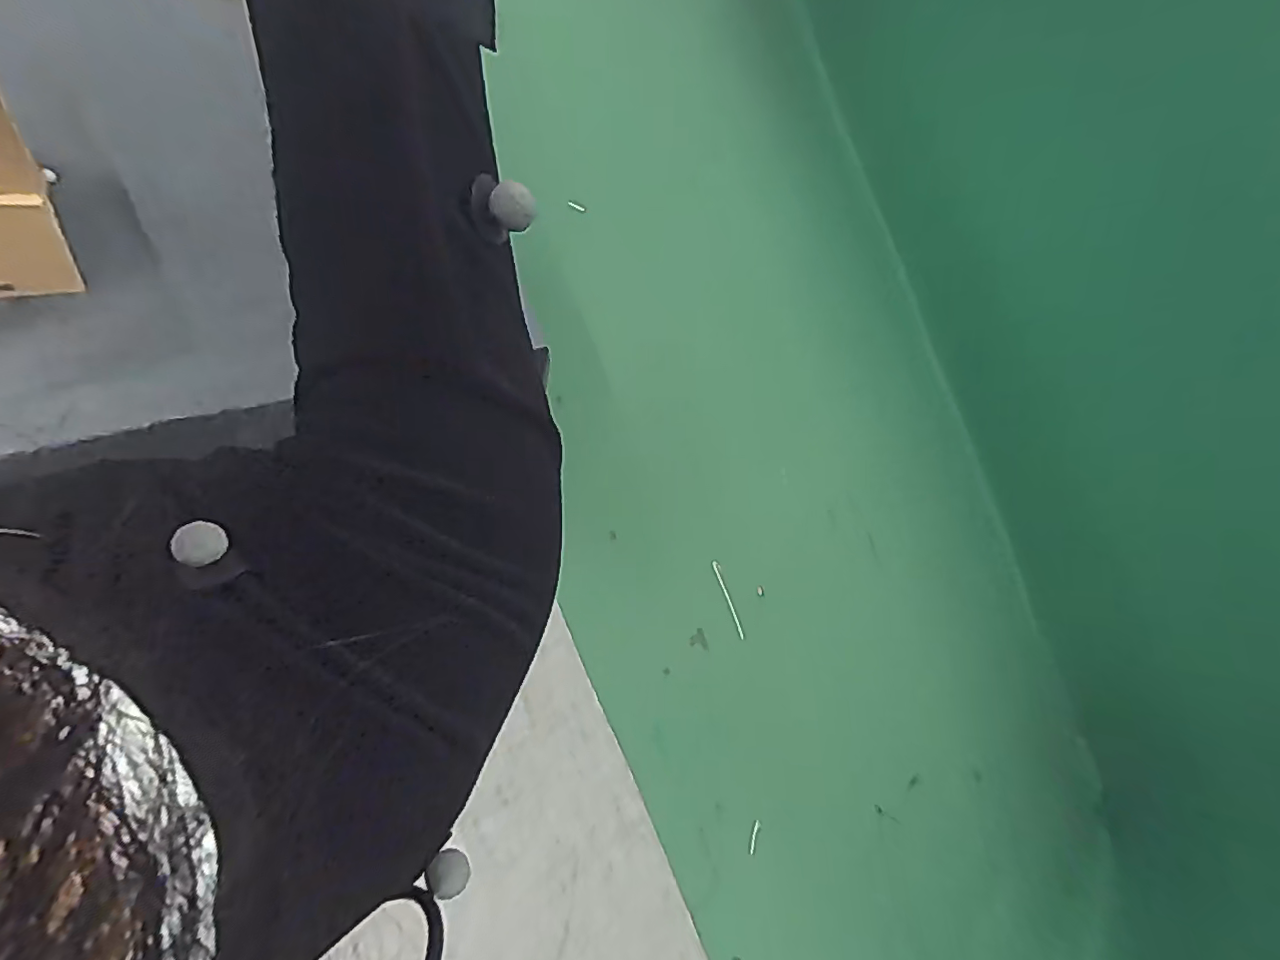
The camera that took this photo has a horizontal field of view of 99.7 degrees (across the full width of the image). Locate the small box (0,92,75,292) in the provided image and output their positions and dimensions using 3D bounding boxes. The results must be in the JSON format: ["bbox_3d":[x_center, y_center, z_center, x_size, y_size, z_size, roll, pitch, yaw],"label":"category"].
[{"bbox_3d":[-0.682,-0.294,0.502,0.168,0.176,0.179,-23,92,-38],"label":"small box"}]
